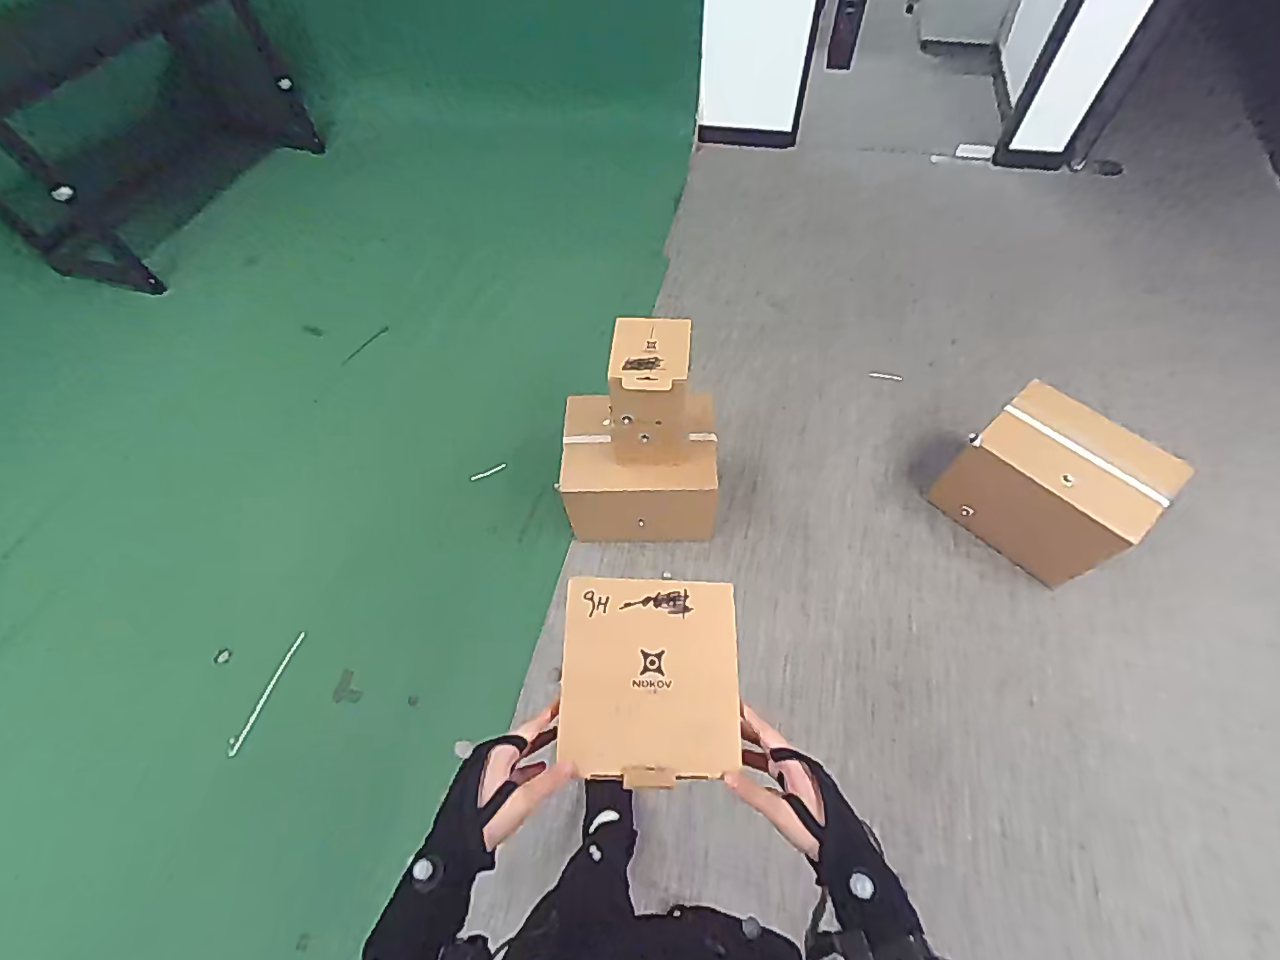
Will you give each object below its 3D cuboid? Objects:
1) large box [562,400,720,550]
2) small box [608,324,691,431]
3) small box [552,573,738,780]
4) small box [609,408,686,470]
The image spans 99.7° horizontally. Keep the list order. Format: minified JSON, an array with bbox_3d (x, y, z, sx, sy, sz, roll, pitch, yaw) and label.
[{"bbox_3d":[0.010,-0.005,1.551,0.408,0.320,0.320,-2,57,3],"label":"large box"},{"bbox_3d":[0.027,-0.224,1.204,0.168,0.176,0.179,3,60,5],"label":"small box"},{"bbox_3d":[0.001,0.204,0.570,0.168,0.176,0.179,4,68,-5],"label":"small box"},{"bbox_3d":[0.025,-0.136,1.342,0.179,0.176,0.168,1,60,4],"label":"small box"}]
